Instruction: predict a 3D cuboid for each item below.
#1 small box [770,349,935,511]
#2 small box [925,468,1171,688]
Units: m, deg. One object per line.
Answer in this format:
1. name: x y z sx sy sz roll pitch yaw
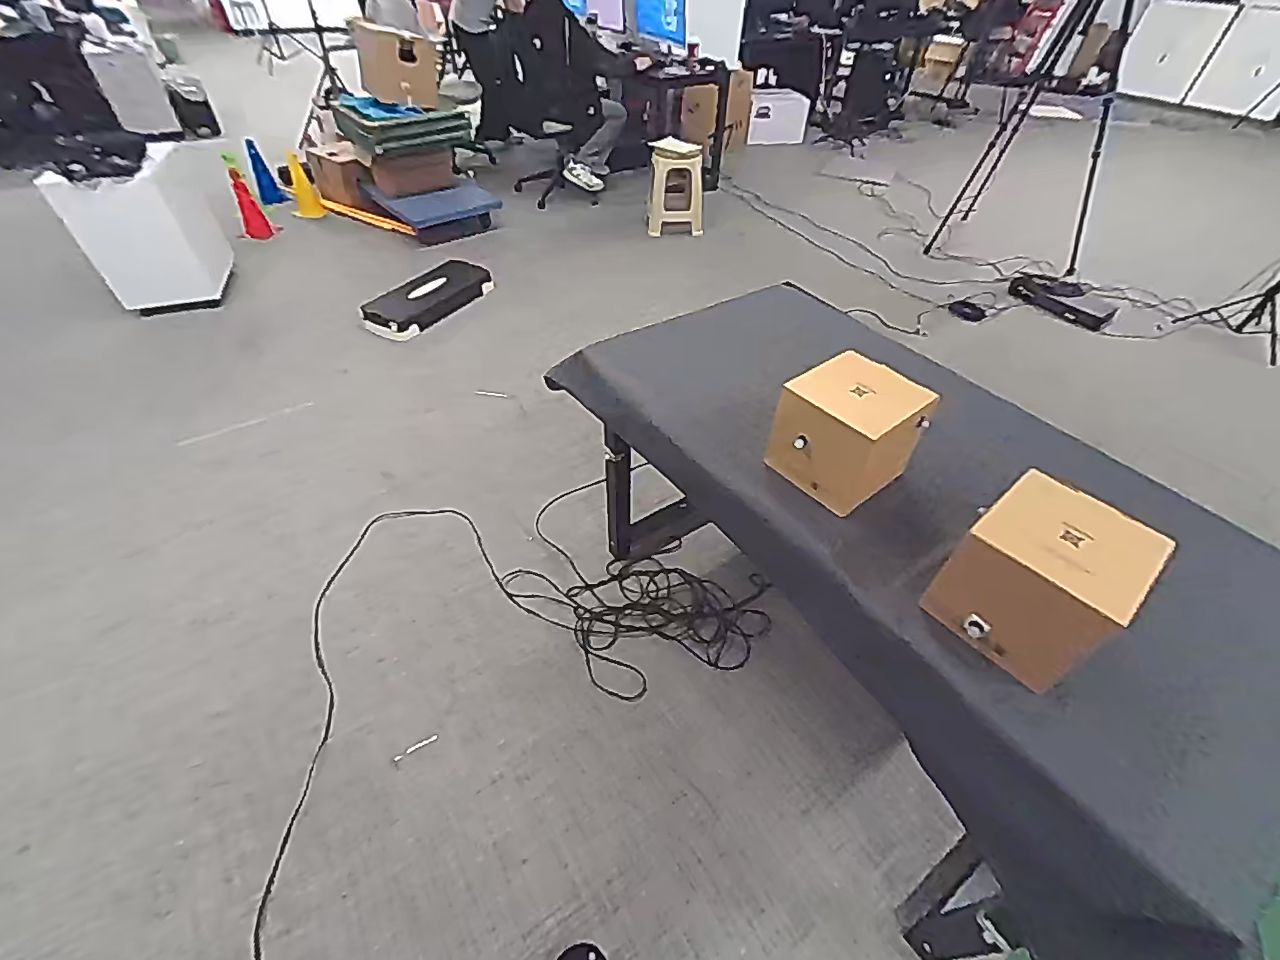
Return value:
1. small box: 0.331 -0.080 0.878 0.179 0.176 0.168 -29 53 -28
2. small box: 0.500 0.122 0.687 0.179 0.176 0.168 -31 53 -28
